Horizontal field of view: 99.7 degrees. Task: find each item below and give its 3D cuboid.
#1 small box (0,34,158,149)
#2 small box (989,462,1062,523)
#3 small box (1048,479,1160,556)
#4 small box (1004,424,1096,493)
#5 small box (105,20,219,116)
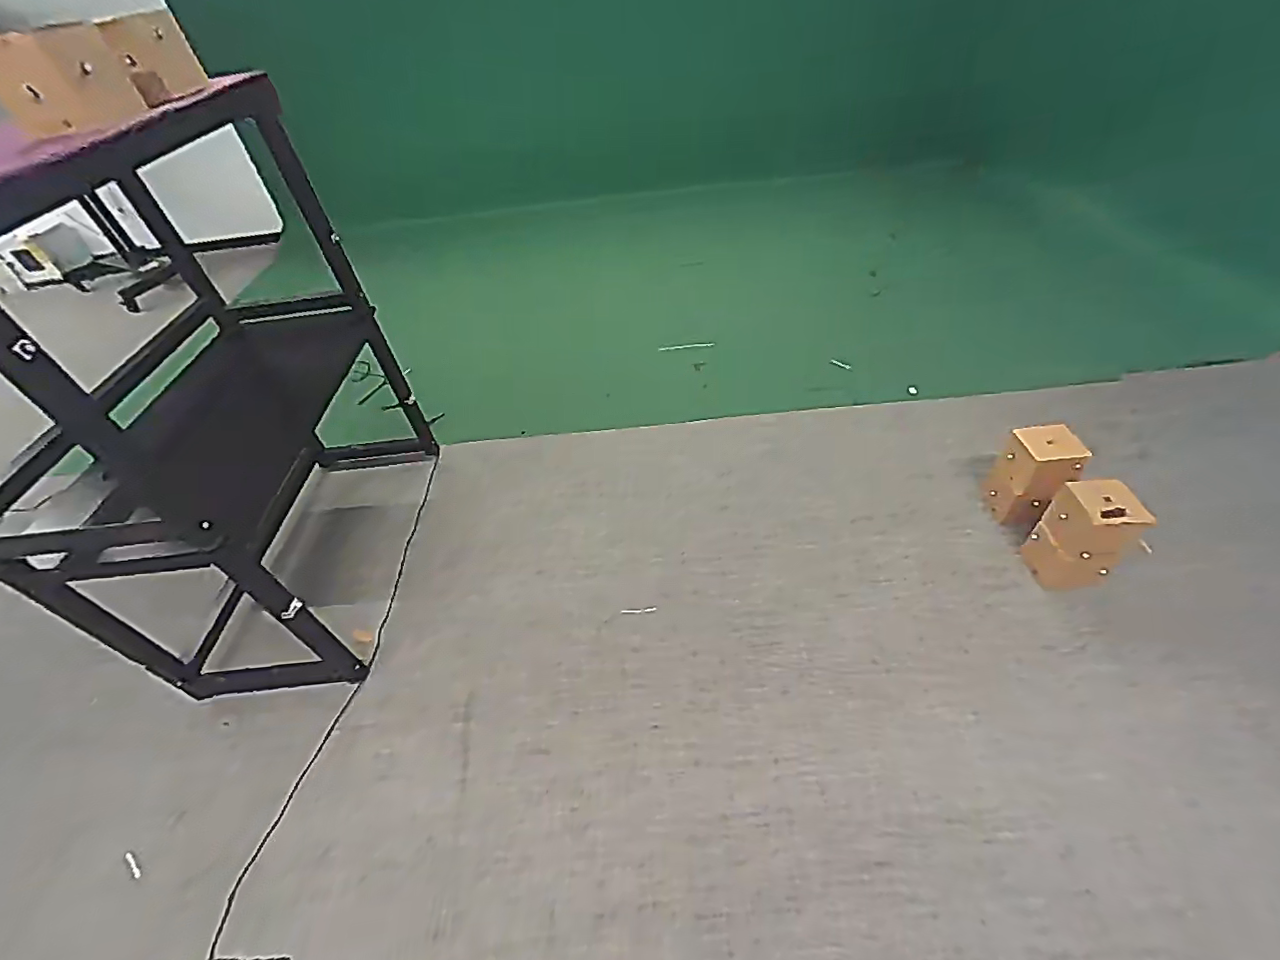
[{"bbox_3d":[-1.227,-0.843,1.181,0.168,0.176,0.179,-5,46,4],"label":"small box"},{"bbox_3d":[1.399,0.043,1.957,0.179,0.176,0.168,-4,45,5],"label":"small box"},{"bbox_3d":[1.402,0.119,1.649,0.168,0.176,0.179,-3,44,5],"label":"small box"},{"bbox_3d":[1.381,-0.069,1.842,0.179,0.176,0.168,-5,45,3],"label":"small box"},{"bbox_3d":[-1.253,-1.059,1.401,0.168,0.176,0.179,-4,46,6],"label":"small box"}]
